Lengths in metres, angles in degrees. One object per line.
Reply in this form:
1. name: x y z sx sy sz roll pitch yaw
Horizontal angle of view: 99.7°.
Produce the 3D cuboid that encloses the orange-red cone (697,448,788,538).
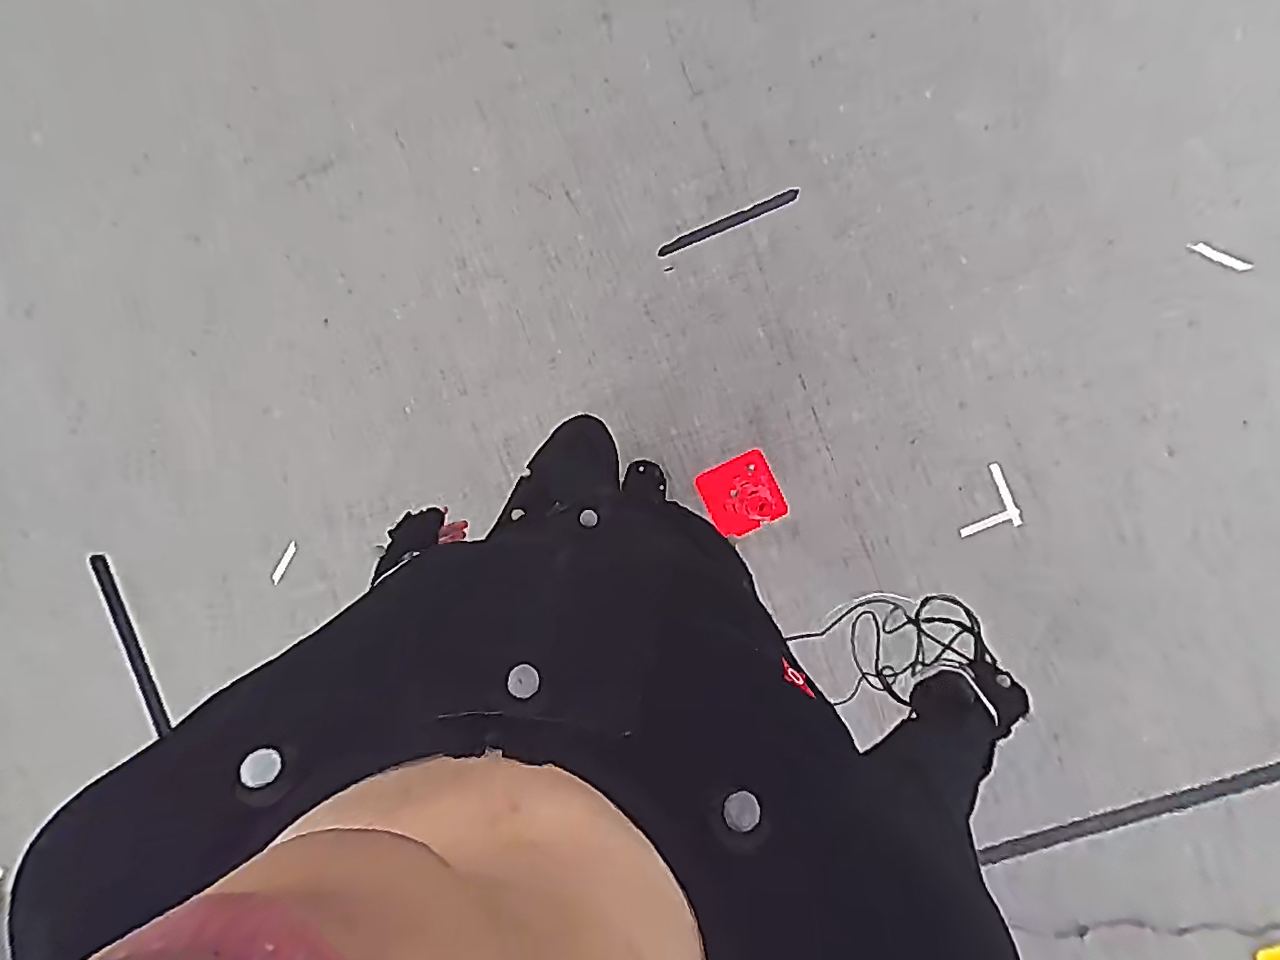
1. orange-red cone: 0.260 0.044 1.265 0.199 0.360 0.198 -25 91 5
